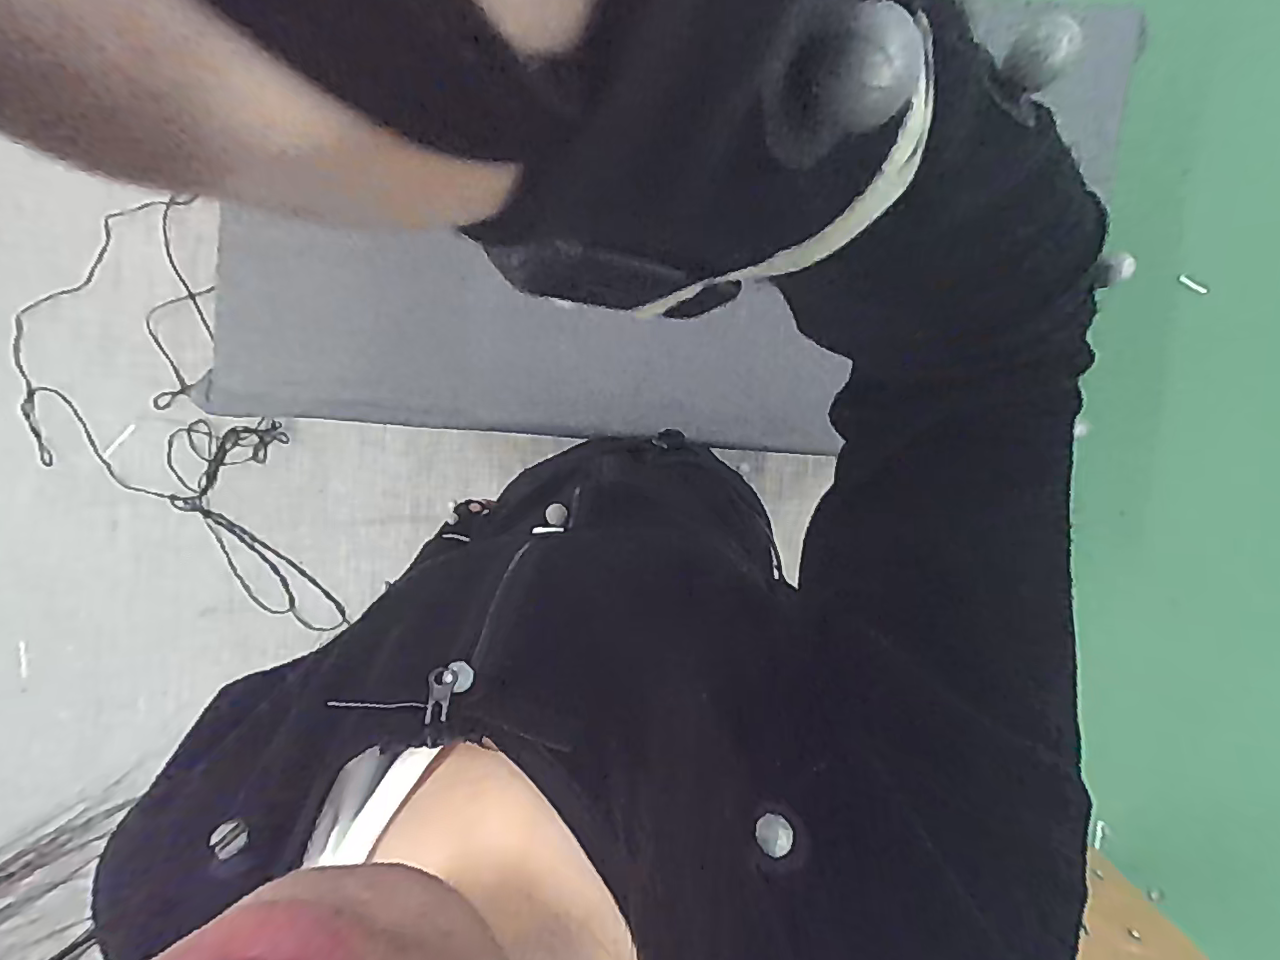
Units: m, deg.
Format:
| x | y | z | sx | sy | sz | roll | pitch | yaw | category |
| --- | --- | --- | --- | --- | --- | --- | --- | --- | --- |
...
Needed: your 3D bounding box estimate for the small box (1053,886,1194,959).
| x | y | z | sx | sy | sz | roll | pitch | yaw | category |
| --- | --- | --- | --- | --- | --- | --- | --- | --- | --- |
| 1.138 | 1.110 | 1.284 | 0.179 | 0.176 | 0.168 | 4 | 94 | 1 | small box |
